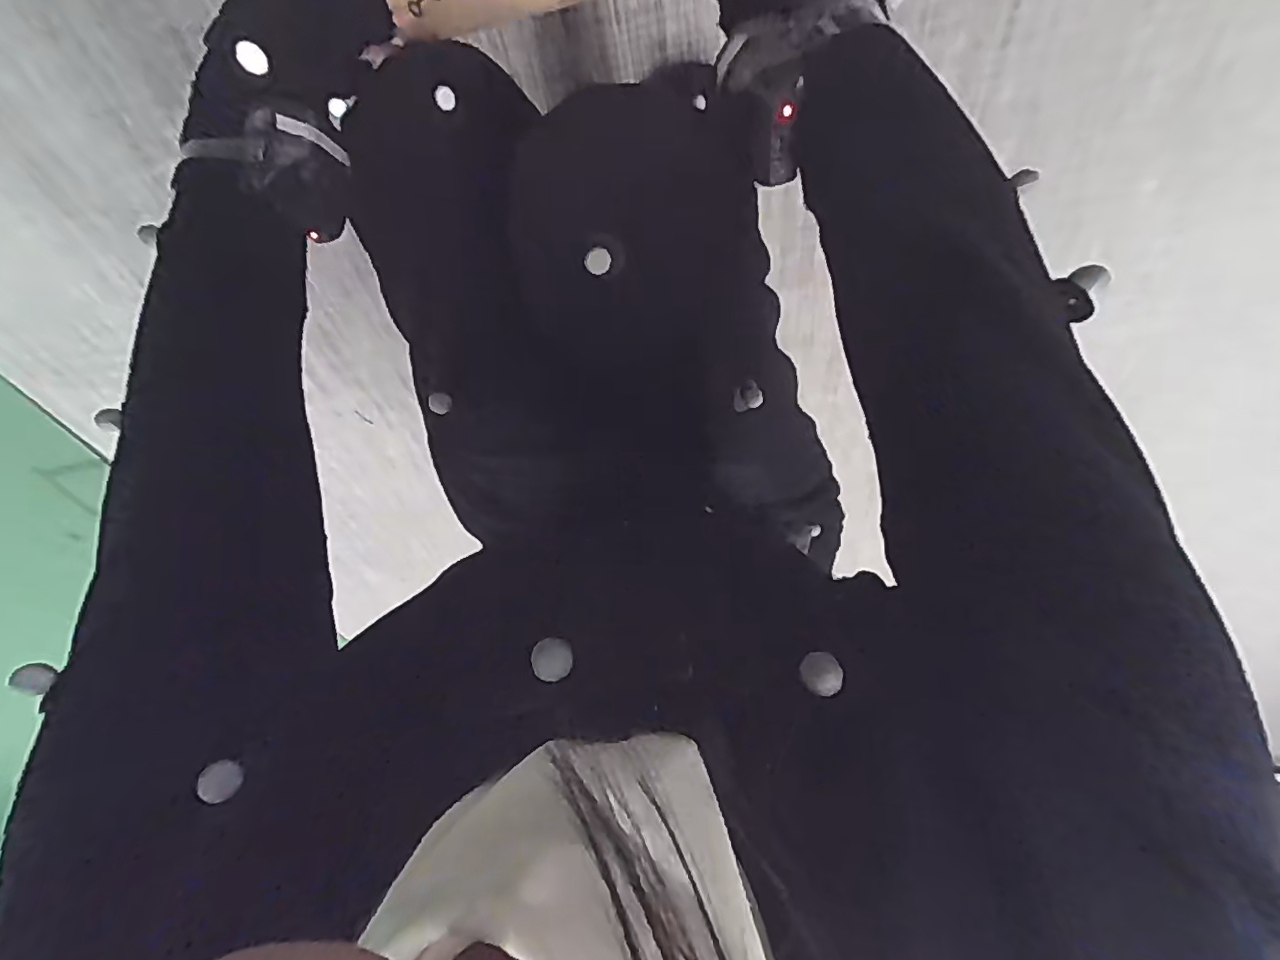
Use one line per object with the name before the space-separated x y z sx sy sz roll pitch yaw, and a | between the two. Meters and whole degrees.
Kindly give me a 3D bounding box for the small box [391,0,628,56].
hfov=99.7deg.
small box | -0.111 -0.454 0.403 0.179 0.176 0.168 -9 138 7
